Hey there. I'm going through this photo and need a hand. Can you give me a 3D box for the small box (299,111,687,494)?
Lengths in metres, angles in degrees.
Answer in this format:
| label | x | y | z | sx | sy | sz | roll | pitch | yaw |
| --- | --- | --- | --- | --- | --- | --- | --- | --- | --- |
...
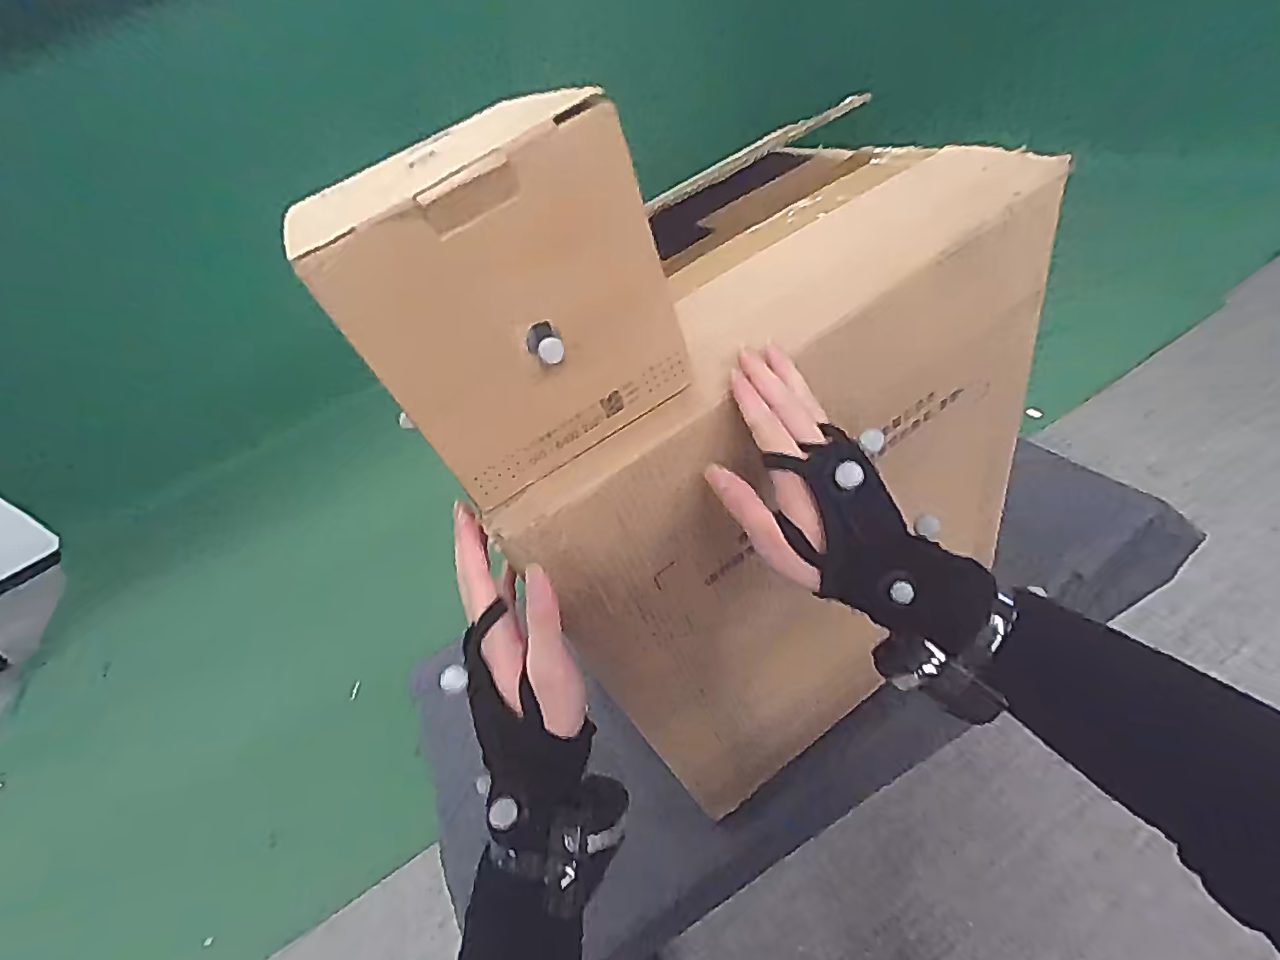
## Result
| label | x | y | z | sx | sy | sz | roll | pitch | yaw |
| --- | --- | --- | --- | --- | --- | --- | --- | --- | --- |
| small box | -0.091 | -0.115 | 0.361 | 0.168 | 0.176 | 0.179 | -33 | 42 | -10 |
